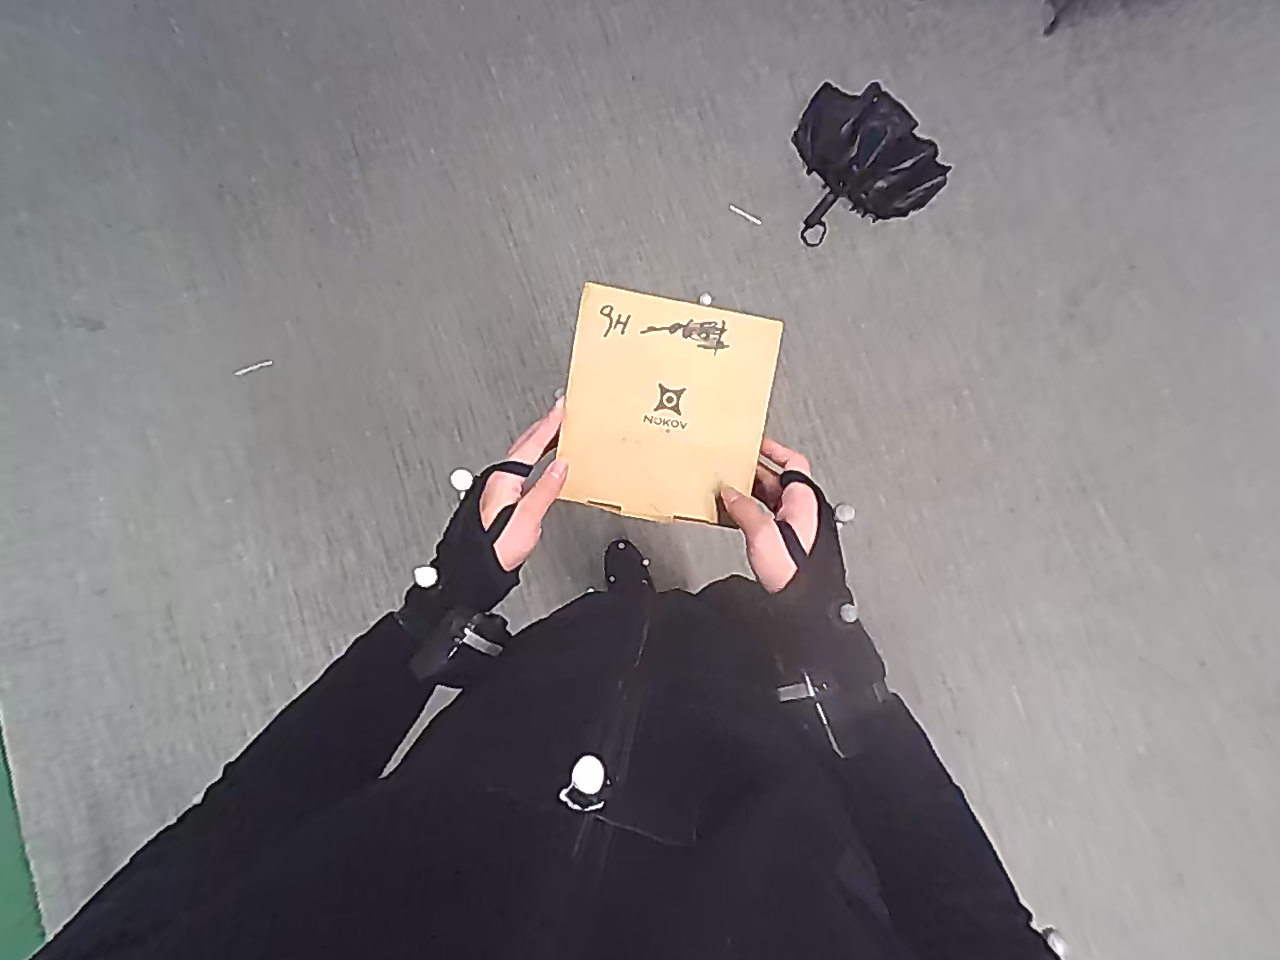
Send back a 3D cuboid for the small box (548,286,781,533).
[{"bbox_3d":[0.013,-0.063,0.516,0.168,0.176,0.179,10,96,-7],"label":"small box"}]
